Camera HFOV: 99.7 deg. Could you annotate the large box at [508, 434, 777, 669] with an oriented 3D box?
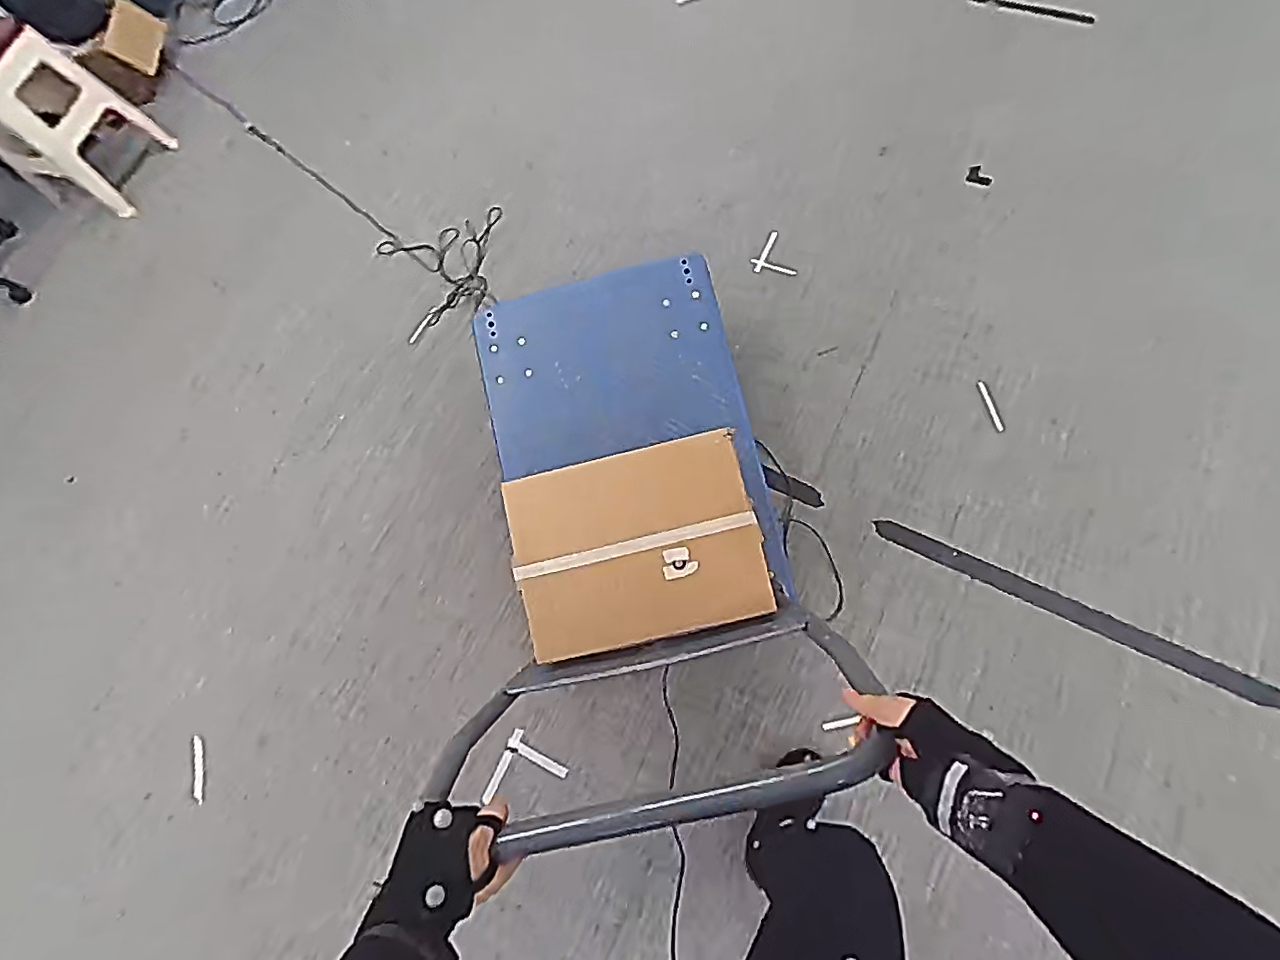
[{"bbox_3d":[0.008,0.137,1.050,0.408,0.320,0.320,-14,83,3],"label":"large box"}]
